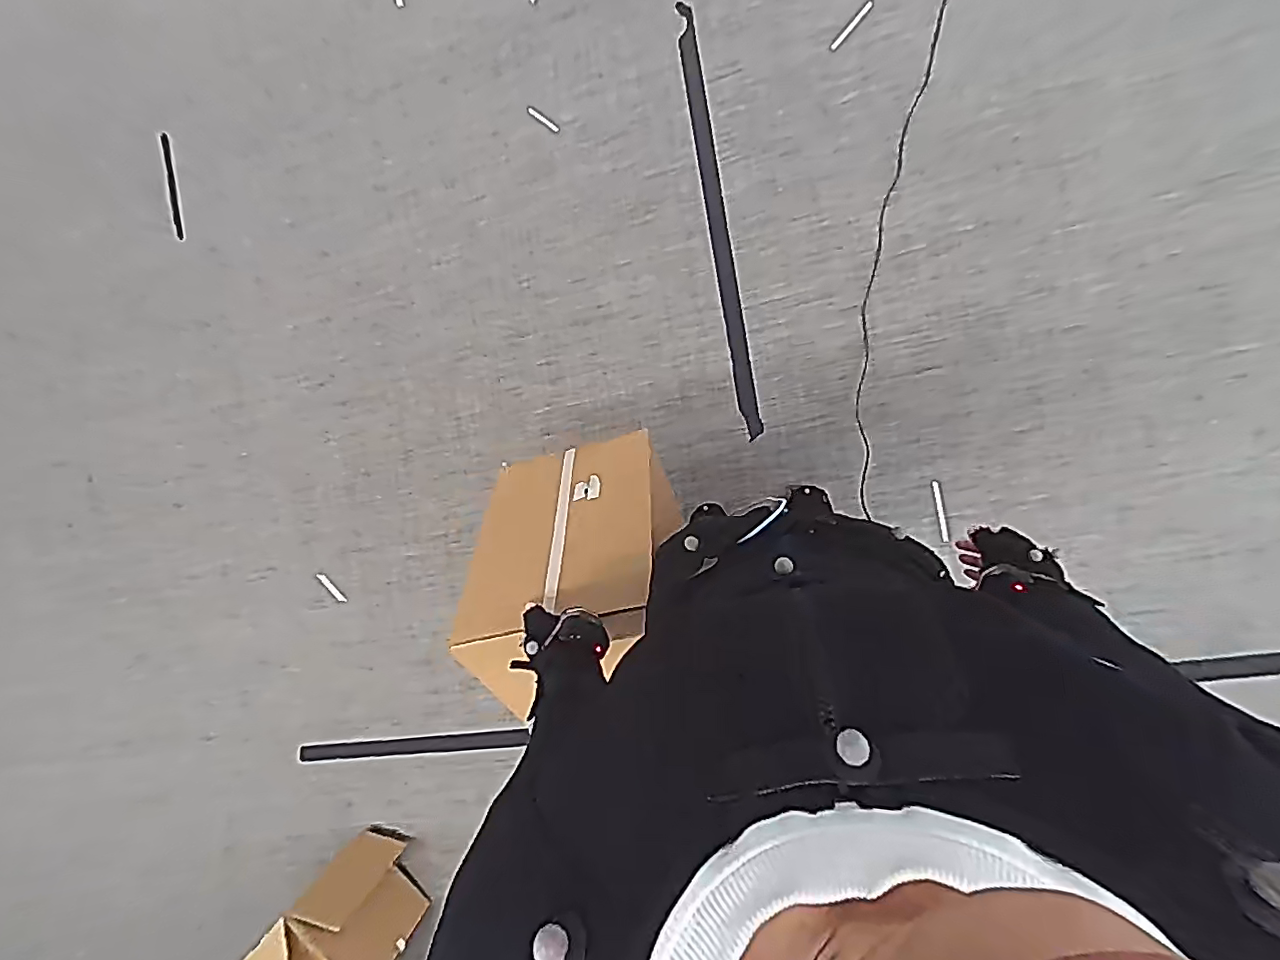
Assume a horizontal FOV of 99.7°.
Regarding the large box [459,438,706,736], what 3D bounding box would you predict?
[{"bbox_3d":[-0.079,0.190,0.998,0.320,0.408,0.320,-13,128,10],"label":"large box"}]
